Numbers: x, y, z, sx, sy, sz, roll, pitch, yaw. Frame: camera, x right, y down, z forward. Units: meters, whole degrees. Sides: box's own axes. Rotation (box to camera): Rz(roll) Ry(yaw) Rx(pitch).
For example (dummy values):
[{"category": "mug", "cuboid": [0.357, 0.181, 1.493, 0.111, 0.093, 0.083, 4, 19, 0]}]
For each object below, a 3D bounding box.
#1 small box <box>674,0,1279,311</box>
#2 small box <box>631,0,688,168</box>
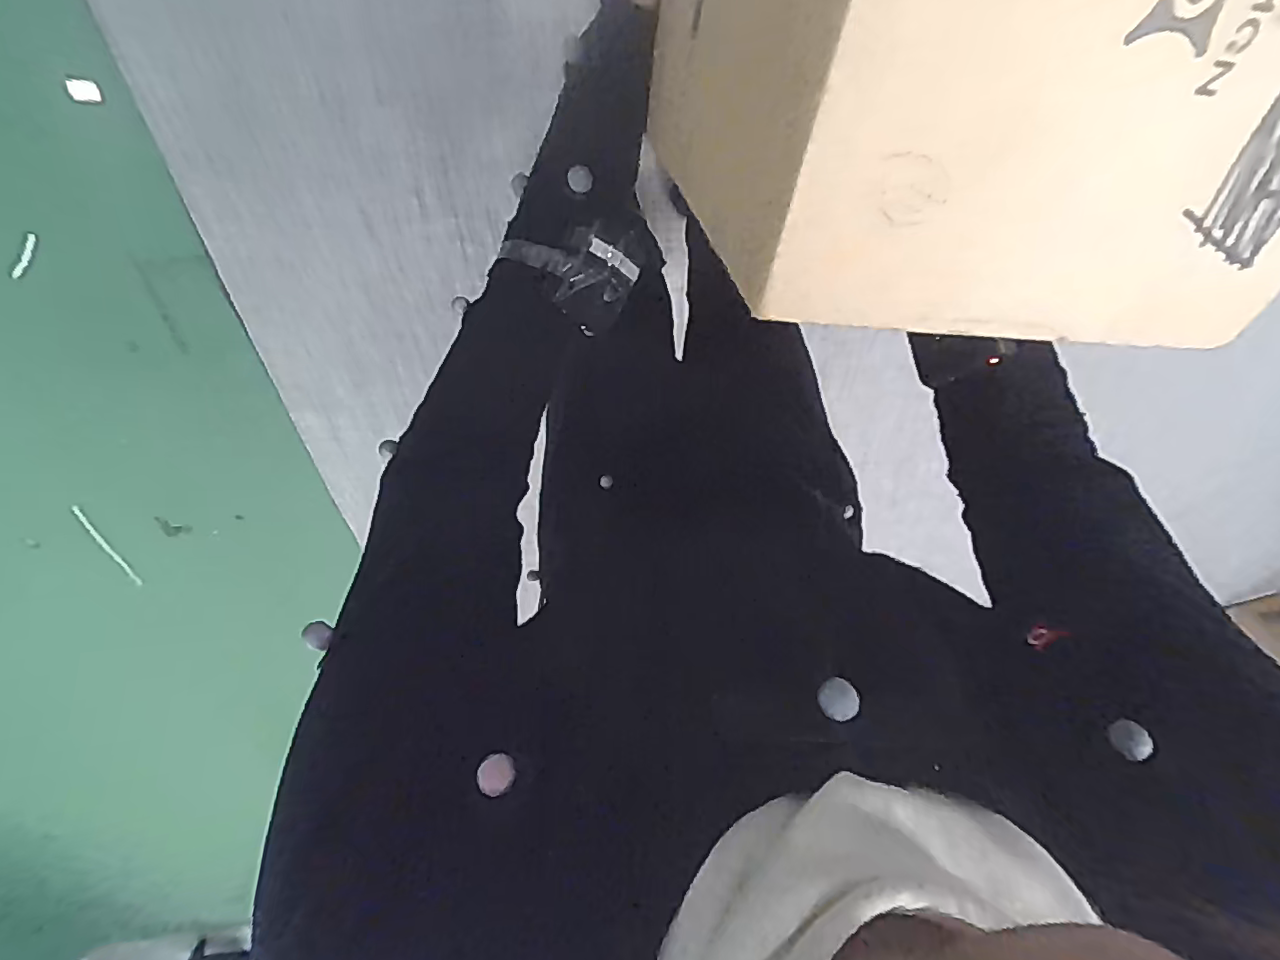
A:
[{"category": "small box", "cuboid": [0.121, -0.173, 0.187, 0.179, 0.176, 0.168, -3, 133, -9]}, {"category": "small box", "cuboid": [0.098, -0.282, 0.308, 0.179, 0.176, 0.168, -1, 132, -10]}]
